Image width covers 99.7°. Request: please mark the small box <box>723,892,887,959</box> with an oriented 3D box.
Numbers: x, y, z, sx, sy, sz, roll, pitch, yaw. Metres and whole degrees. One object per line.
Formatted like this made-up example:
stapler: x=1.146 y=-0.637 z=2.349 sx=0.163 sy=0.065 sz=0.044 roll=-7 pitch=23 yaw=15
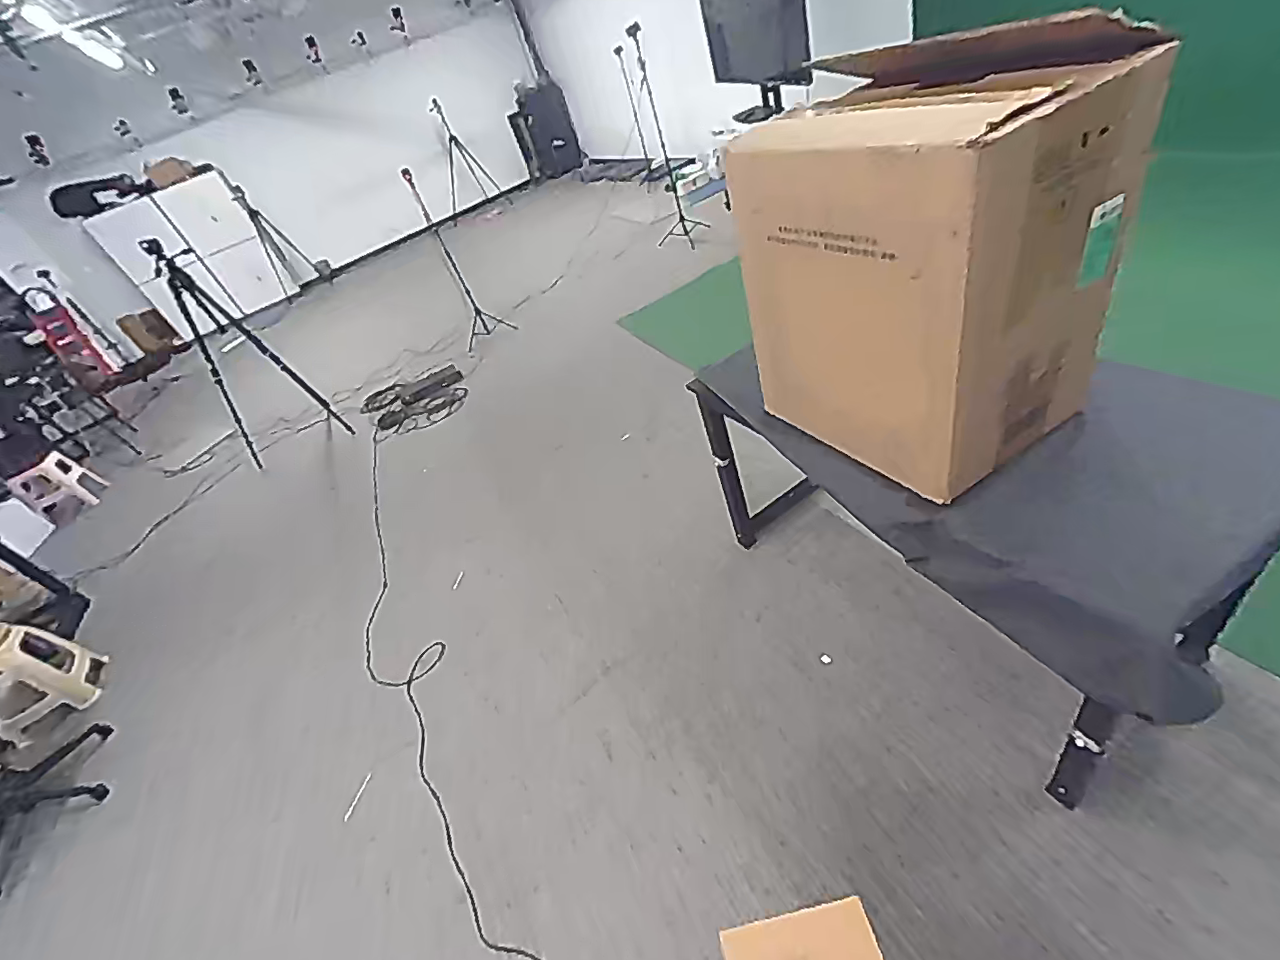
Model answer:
small box: x=0.201 y=0.593 z=0.573 sx=0.168 sy=0.176 sz=0.179 roll=-17 pitch=26 yaw=2
